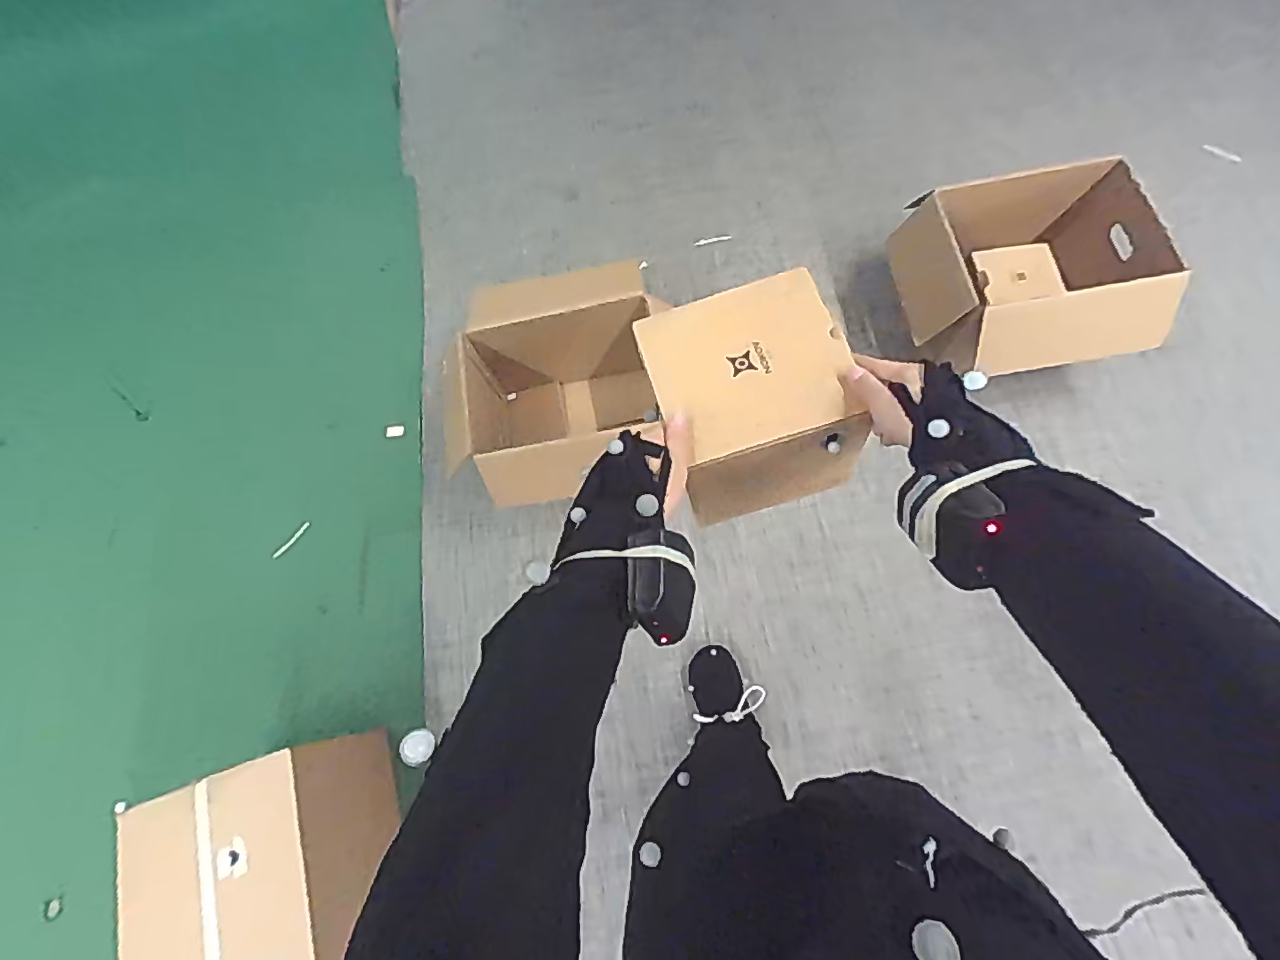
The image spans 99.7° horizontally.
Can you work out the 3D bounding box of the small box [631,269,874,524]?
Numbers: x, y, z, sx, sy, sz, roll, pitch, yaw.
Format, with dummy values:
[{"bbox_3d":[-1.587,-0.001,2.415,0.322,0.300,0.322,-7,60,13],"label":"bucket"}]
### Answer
[{"bbox_3d":[0.104,-0.072,0.549,0.179,0.176,0.168,-16,64,2],"label":"small box"}]
